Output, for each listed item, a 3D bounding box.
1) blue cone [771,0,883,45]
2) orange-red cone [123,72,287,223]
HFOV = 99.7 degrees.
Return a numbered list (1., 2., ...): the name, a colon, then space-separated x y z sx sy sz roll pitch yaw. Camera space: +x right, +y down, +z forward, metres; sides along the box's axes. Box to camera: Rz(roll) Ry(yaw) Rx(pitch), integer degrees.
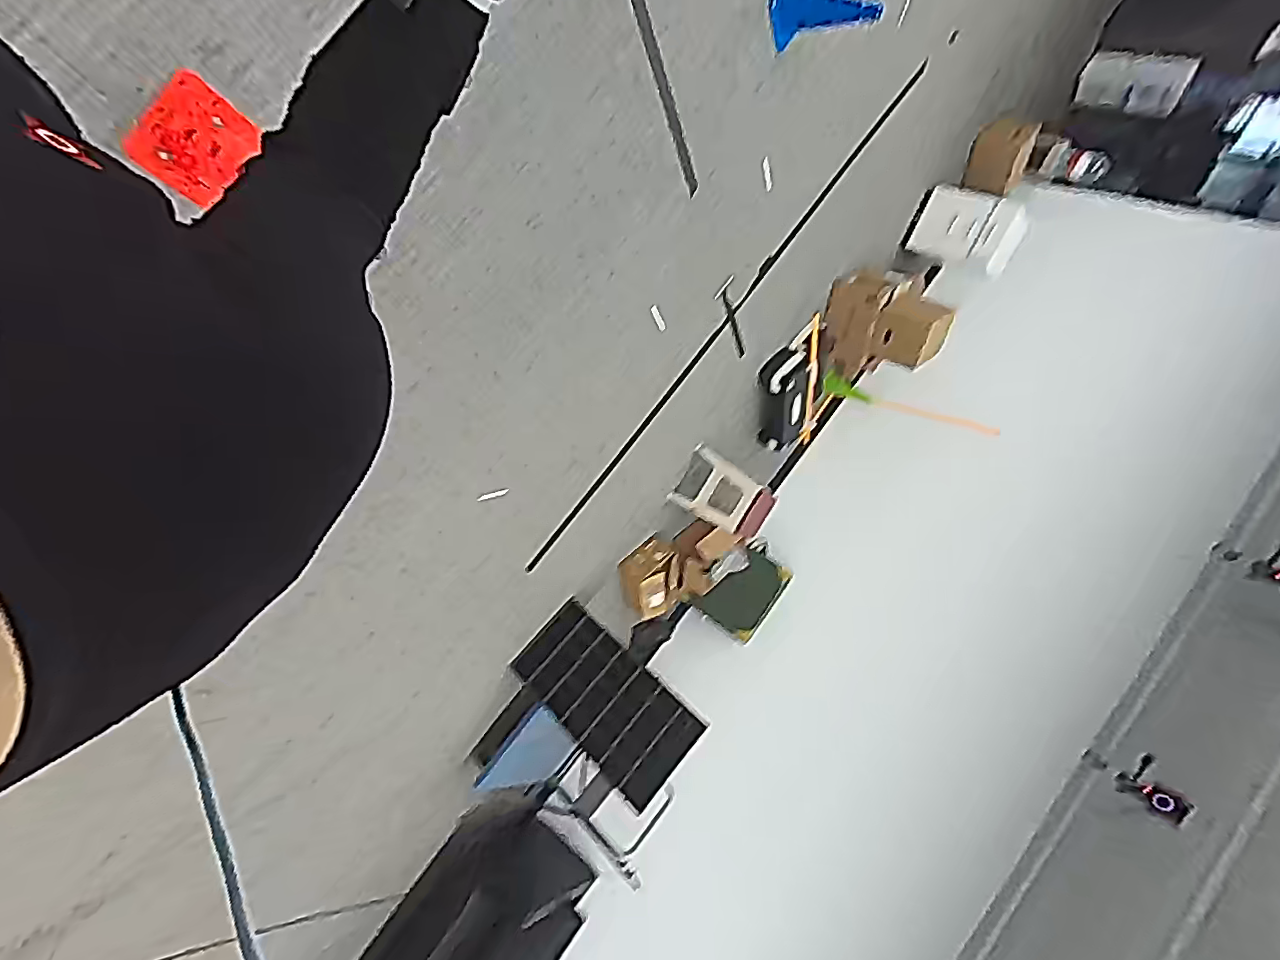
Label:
1. blue cone: 0.654 -1.630 1.854 0.192 0.380 0.193 -54 150 -2
2. orange-red cone: -0.717 -0.552 0.965 0.198 0.360 0.199 -54 151 -2
